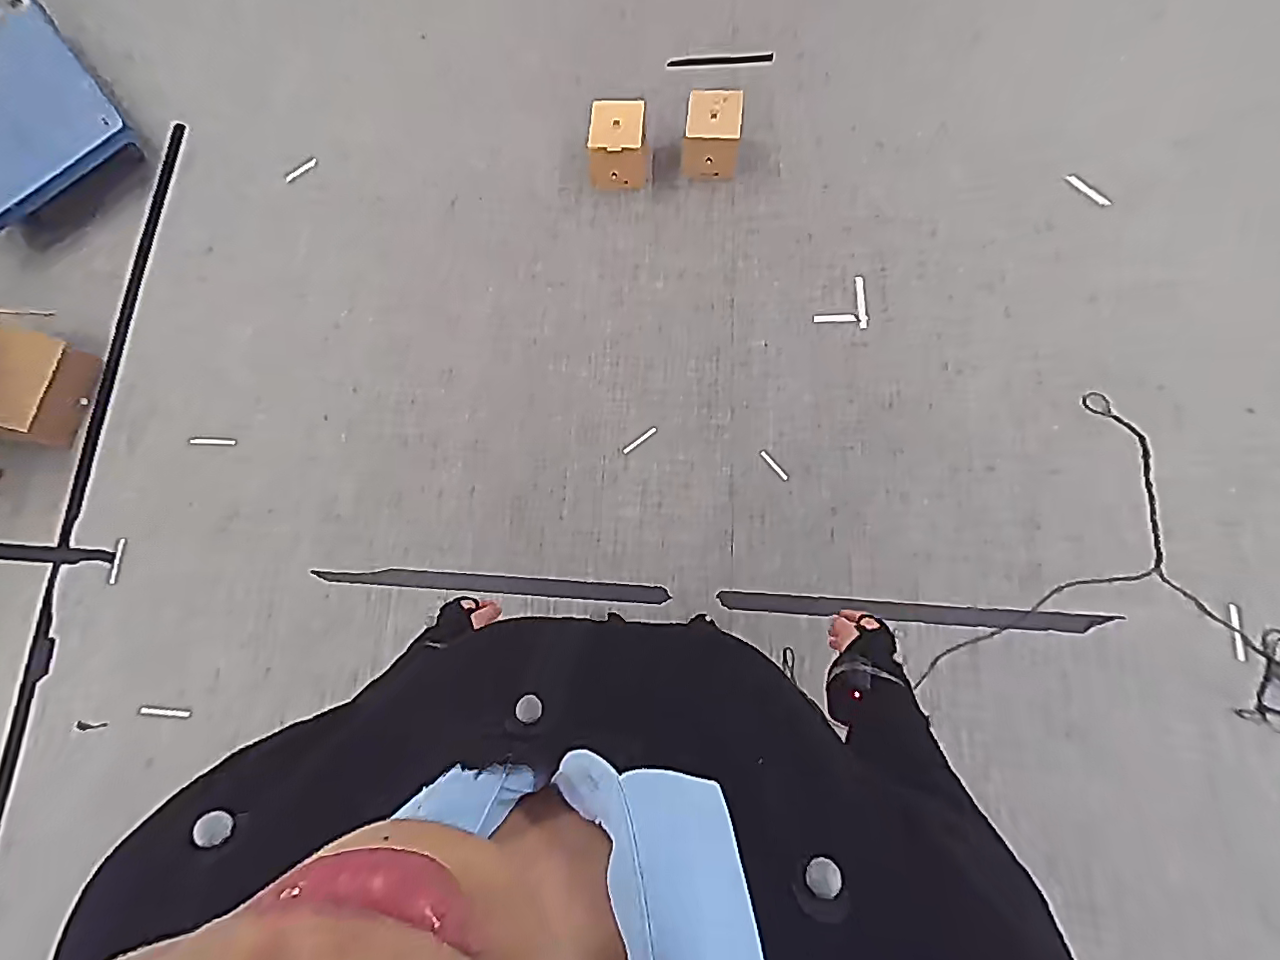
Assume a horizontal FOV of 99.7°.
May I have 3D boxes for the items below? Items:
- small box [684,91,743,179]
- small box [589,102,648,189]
[{"bbox_3d":[0.232,-1.092,1.719,0.168,0.176,0.179,6,78,5],"label":"small box"},{"bbox_3d":[-0.065,-1.076,1.742,0.168,0.176,0.179,3,78,6],"label":"small box"}]
